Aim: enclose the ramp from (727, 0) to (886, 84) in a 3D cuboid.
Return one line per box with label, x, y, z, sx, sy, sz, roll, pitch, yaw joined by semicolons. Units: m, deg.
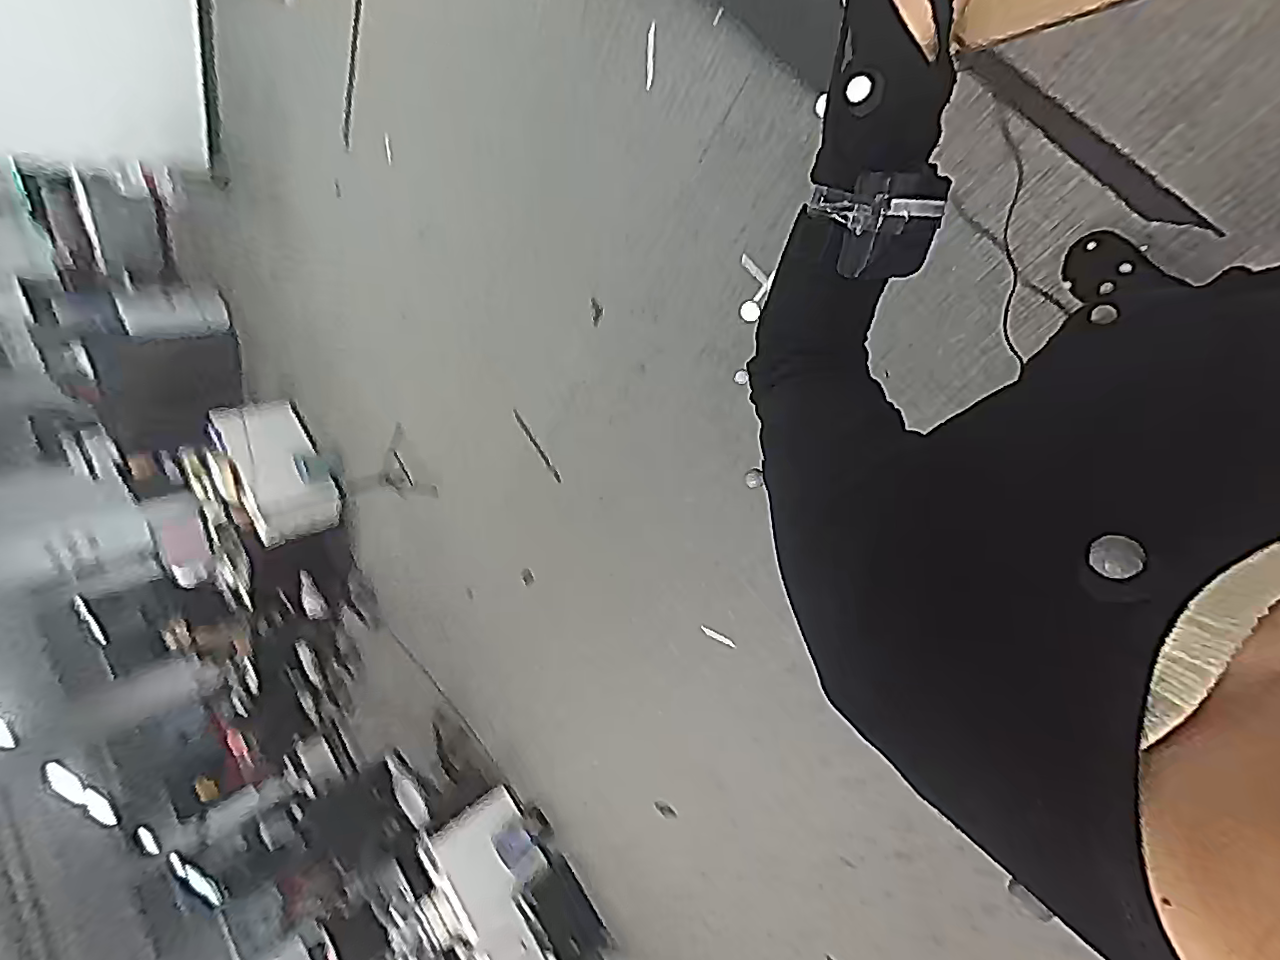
ramp;0.210;-1.407;1.147;0.991;0.206;0.509;52;134;15
